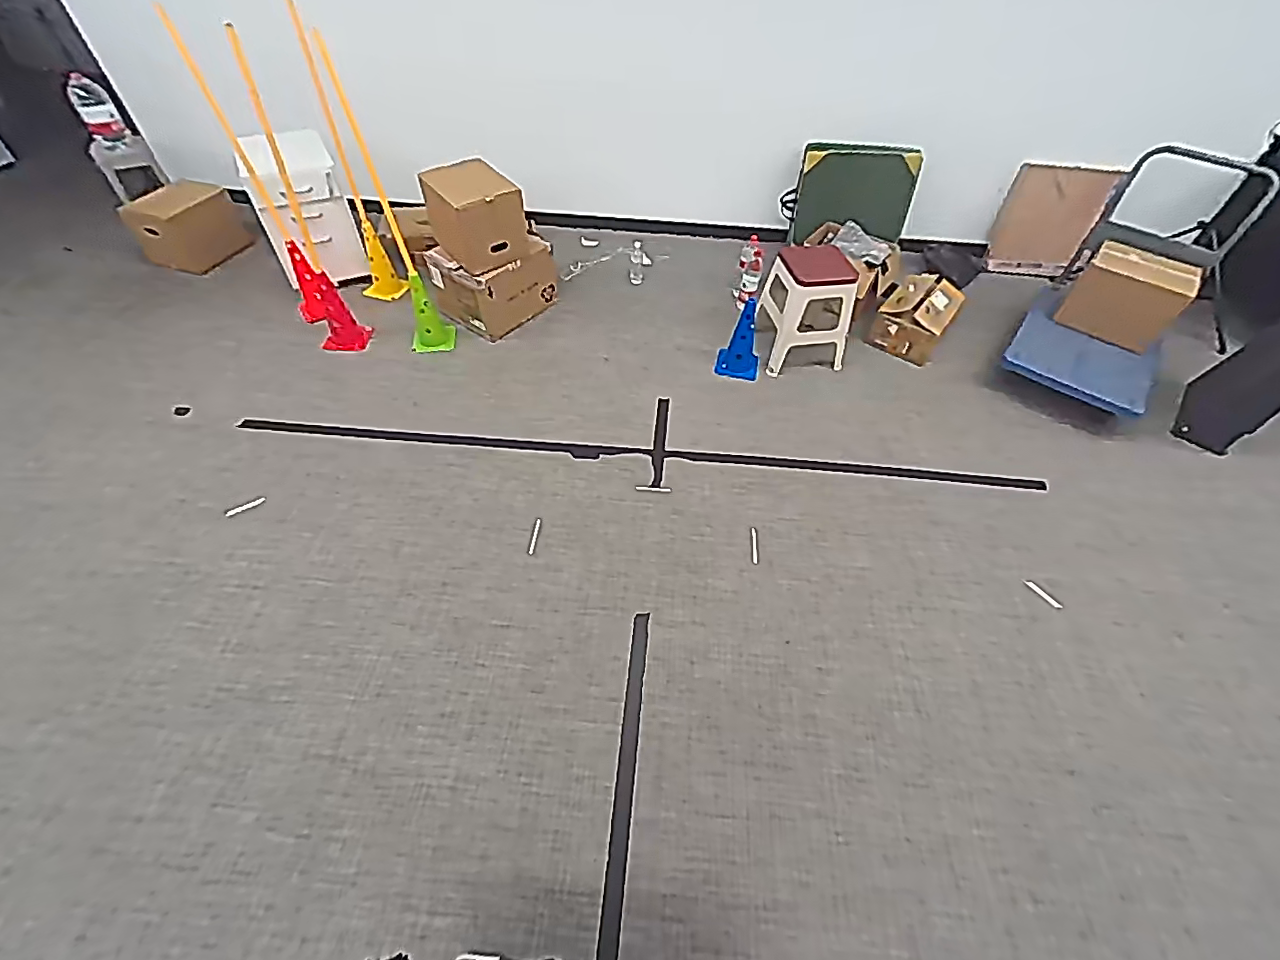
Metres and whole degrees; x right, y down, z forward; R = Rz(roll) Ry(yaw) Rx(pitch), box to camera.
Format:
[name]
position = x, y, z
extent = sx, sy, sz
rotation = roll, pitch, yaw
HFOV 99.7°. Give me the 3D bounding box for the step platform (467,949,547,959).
[step platform]
position = -0.056, 1.154, 1.082
extent = 0.684, 0.204, 0.286
rotation = 5, 50, 0
